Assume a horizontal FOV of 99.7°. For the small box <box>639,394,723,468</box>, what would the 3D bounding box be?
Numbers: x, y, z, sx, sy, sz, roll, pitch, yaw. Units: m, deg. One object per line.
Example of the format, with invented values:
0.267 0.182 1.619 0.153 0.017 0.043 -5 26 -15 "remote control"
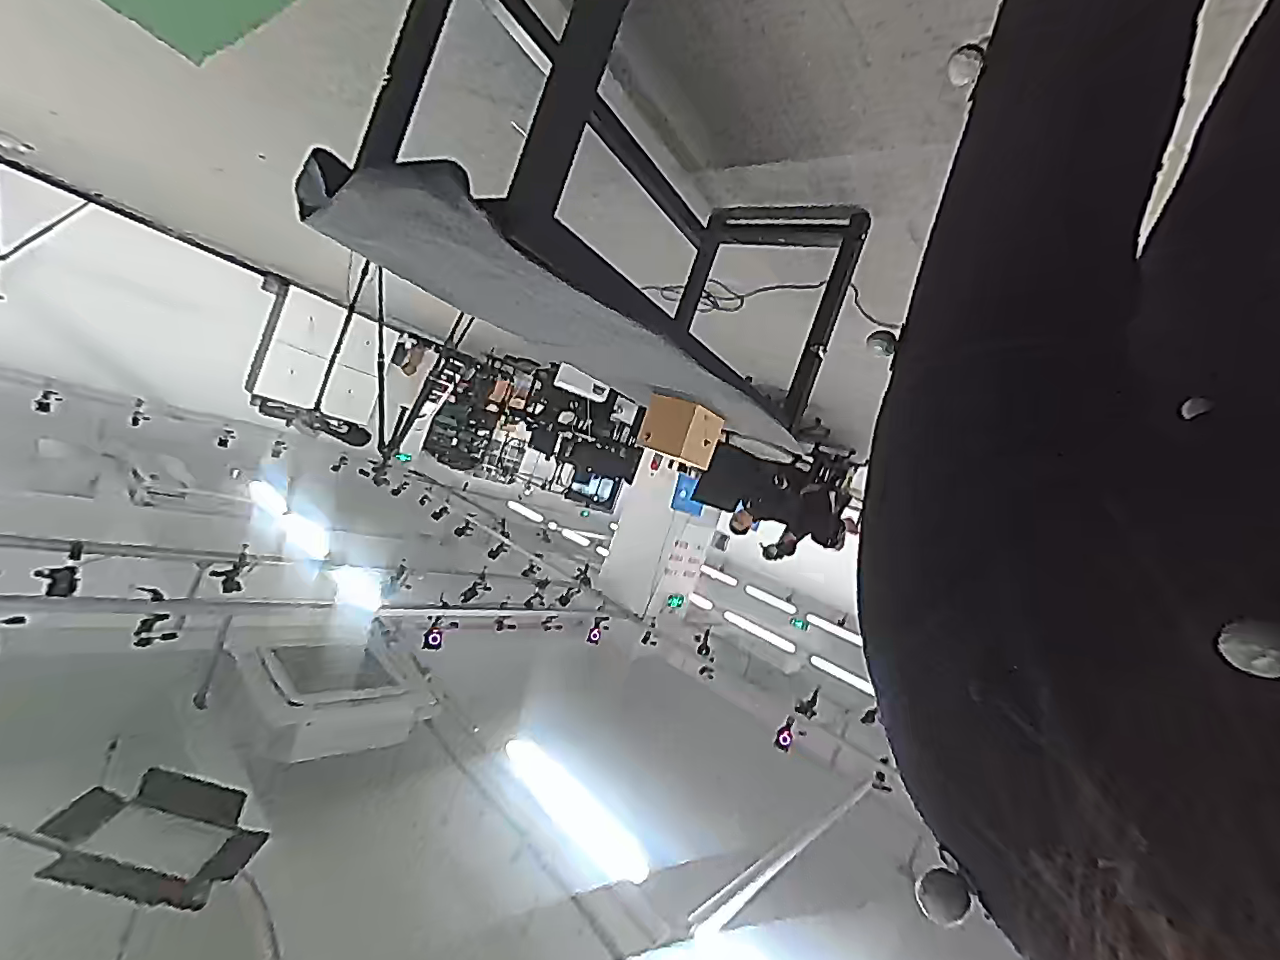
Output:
0.132 -0.150 1.639 0.179 0.176 0.168 21 -178 38 "small box"
